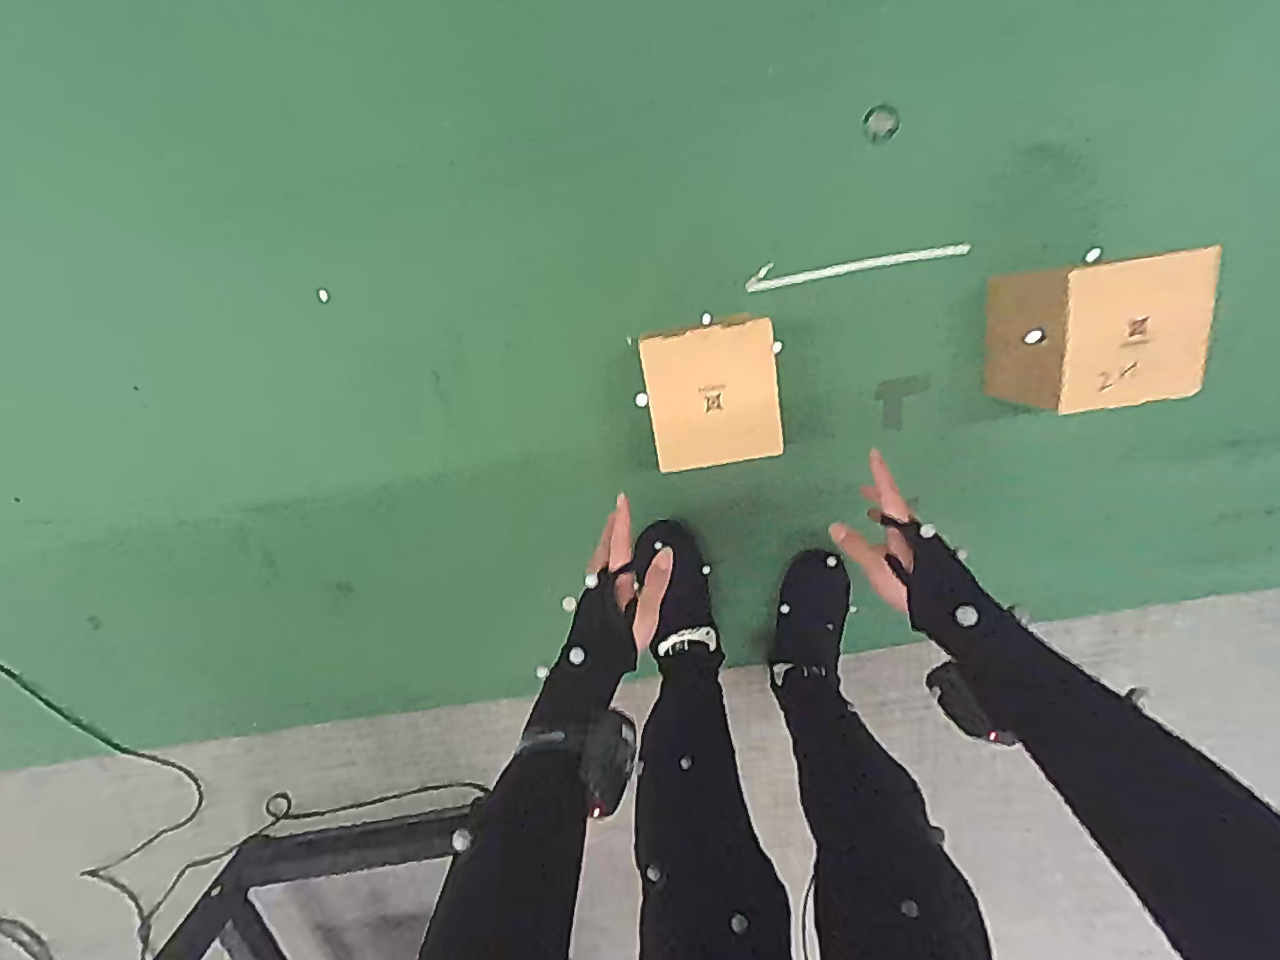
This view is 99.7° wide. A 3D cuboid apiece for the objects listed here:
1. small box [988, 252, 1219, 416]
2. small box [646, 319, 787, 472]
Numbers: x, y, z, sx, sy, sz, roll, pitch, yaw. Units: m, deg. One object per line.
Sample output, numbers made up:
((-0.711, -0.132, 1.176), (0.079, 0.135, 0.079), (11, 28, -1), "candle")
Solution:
((0.601, -0.195, 0.727), (0.168, 0.176, 0.179), (-8, 107, 4), "small box")
((0.104, -0.127, 0.764), (0.168, 0.176, 0.179), (-9, 106, 4), "small box")
